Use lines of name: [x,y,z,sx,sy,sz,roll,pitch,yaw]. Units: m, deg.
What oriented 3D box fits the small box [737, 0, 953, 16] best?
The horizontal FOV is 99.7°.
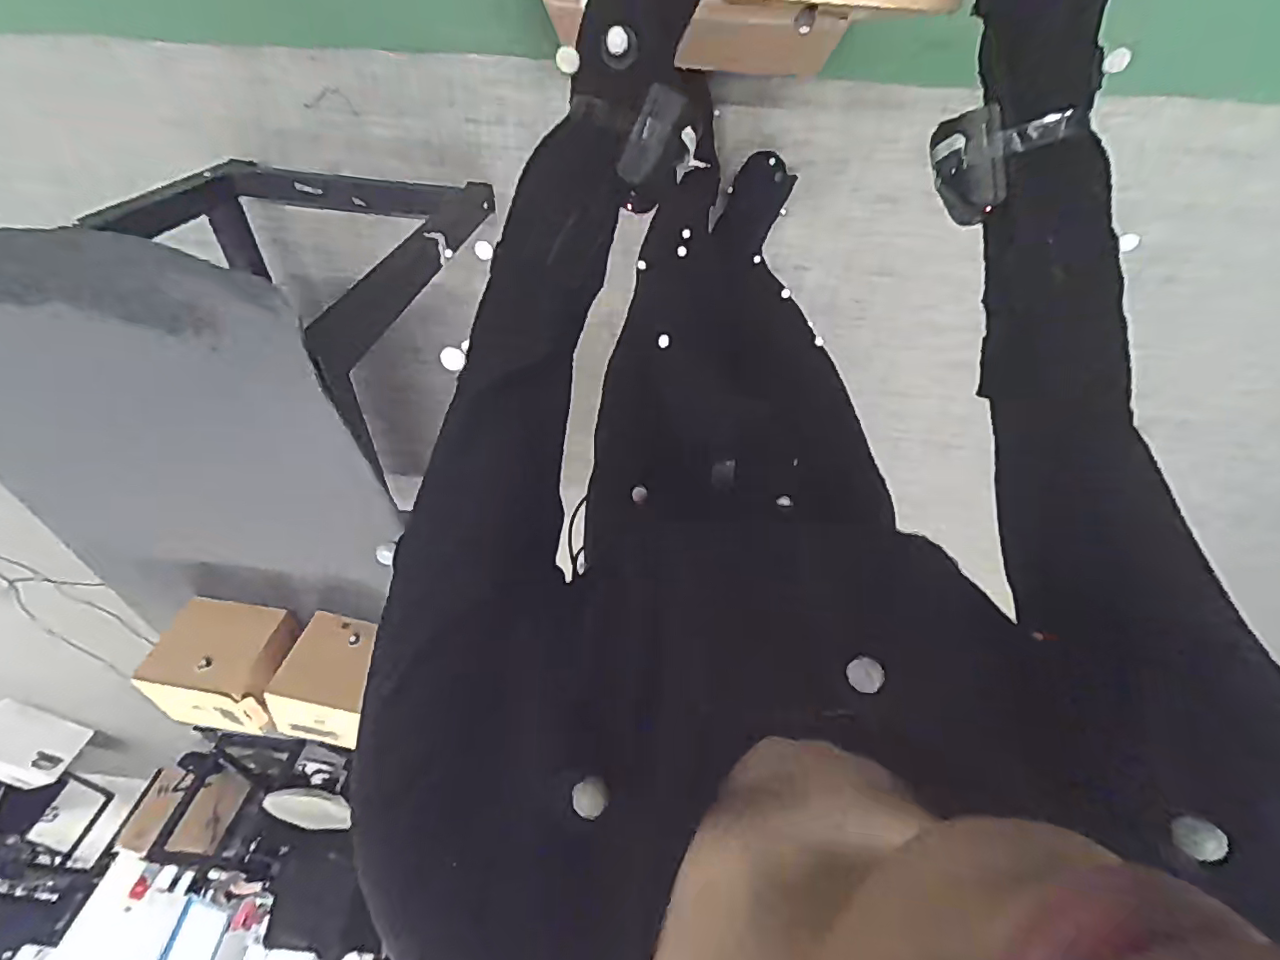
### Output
small box: [0.135,-0.442,0.376,0.179,0.176,0.168,4,133,0]
